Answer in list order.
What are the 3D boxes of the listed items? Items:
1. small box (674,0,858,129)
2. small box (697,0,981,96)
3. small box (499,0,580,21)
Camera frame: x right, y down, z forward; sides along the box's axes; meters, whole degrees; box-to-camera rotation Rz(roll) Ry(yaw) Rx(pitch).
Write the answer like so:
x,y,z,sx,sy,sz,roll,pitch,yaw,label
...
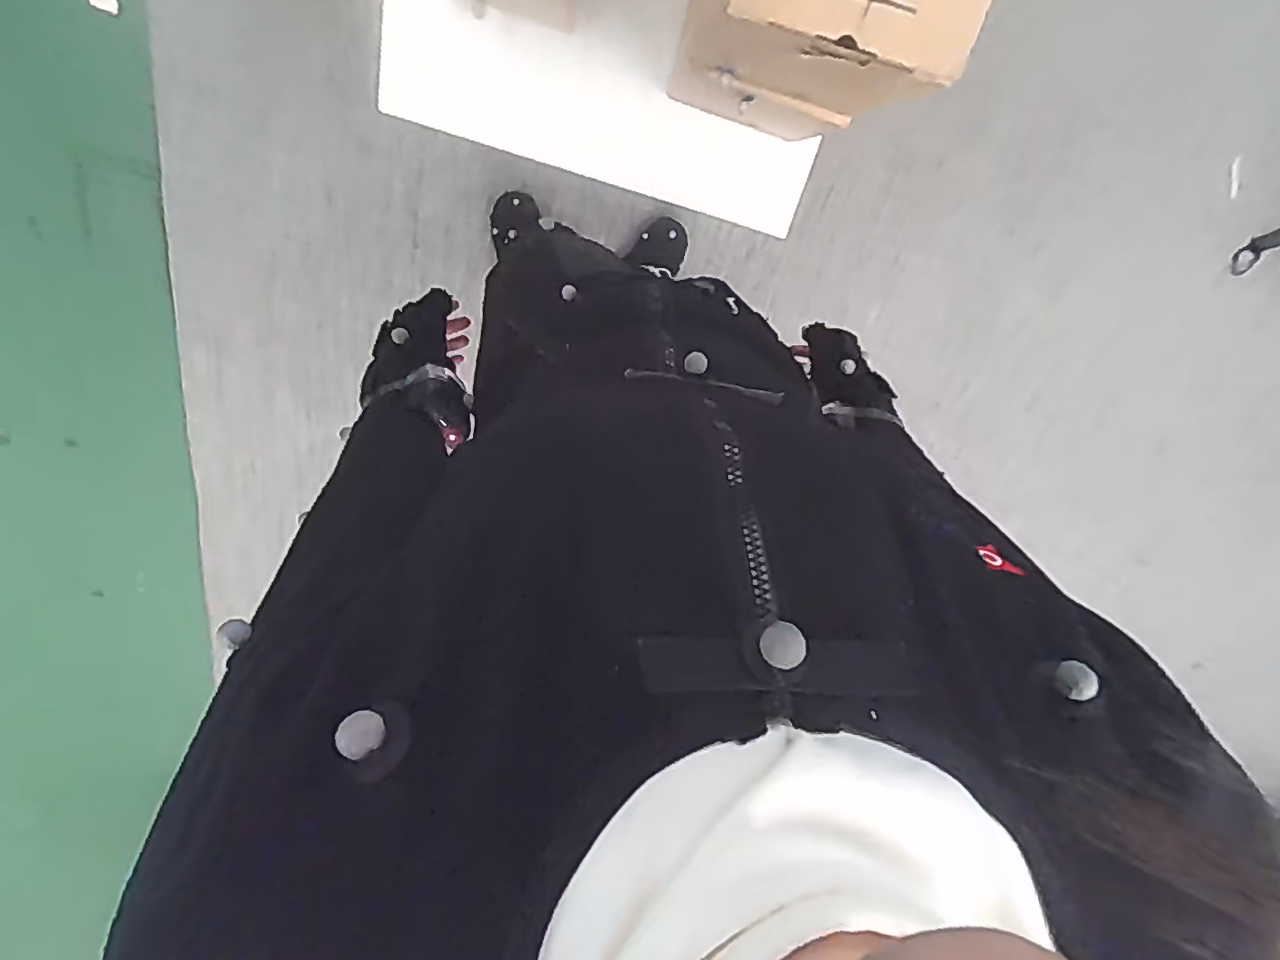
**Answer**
x,y,z,sx,sy,sz,roll,pitch,yaw,label
0.138,-0.470,0.526,0.168,0.176,0.179,12,117,-10,small box
0.144,-0.397,0.378,0.168,0.176,0.179,10,117,-9,small box
-0.122,-0.545,0.467,0.168,0.176,0.179,11,120,-9,small box
